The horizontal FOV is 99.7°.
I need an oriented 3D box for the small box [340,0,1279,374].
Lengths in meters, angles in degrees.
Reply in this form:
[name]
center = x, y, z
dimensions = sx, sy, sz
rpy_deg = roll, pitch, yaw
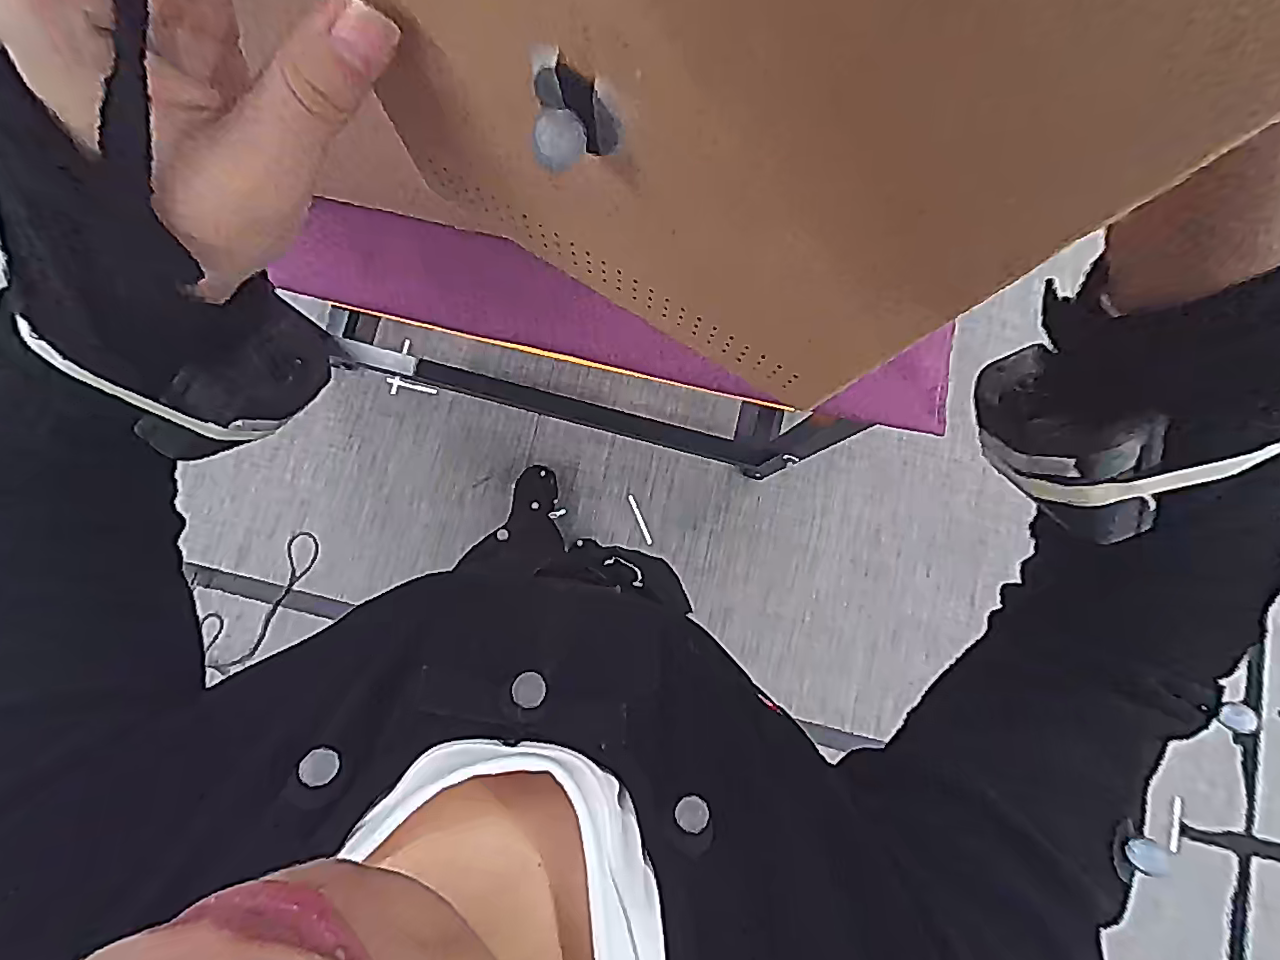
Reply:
[small box]
center = 0.037, -0.146, 0.139
dimensions = 0.179, 0.176, 0.168
rpy_deg = 31, 84, 1
